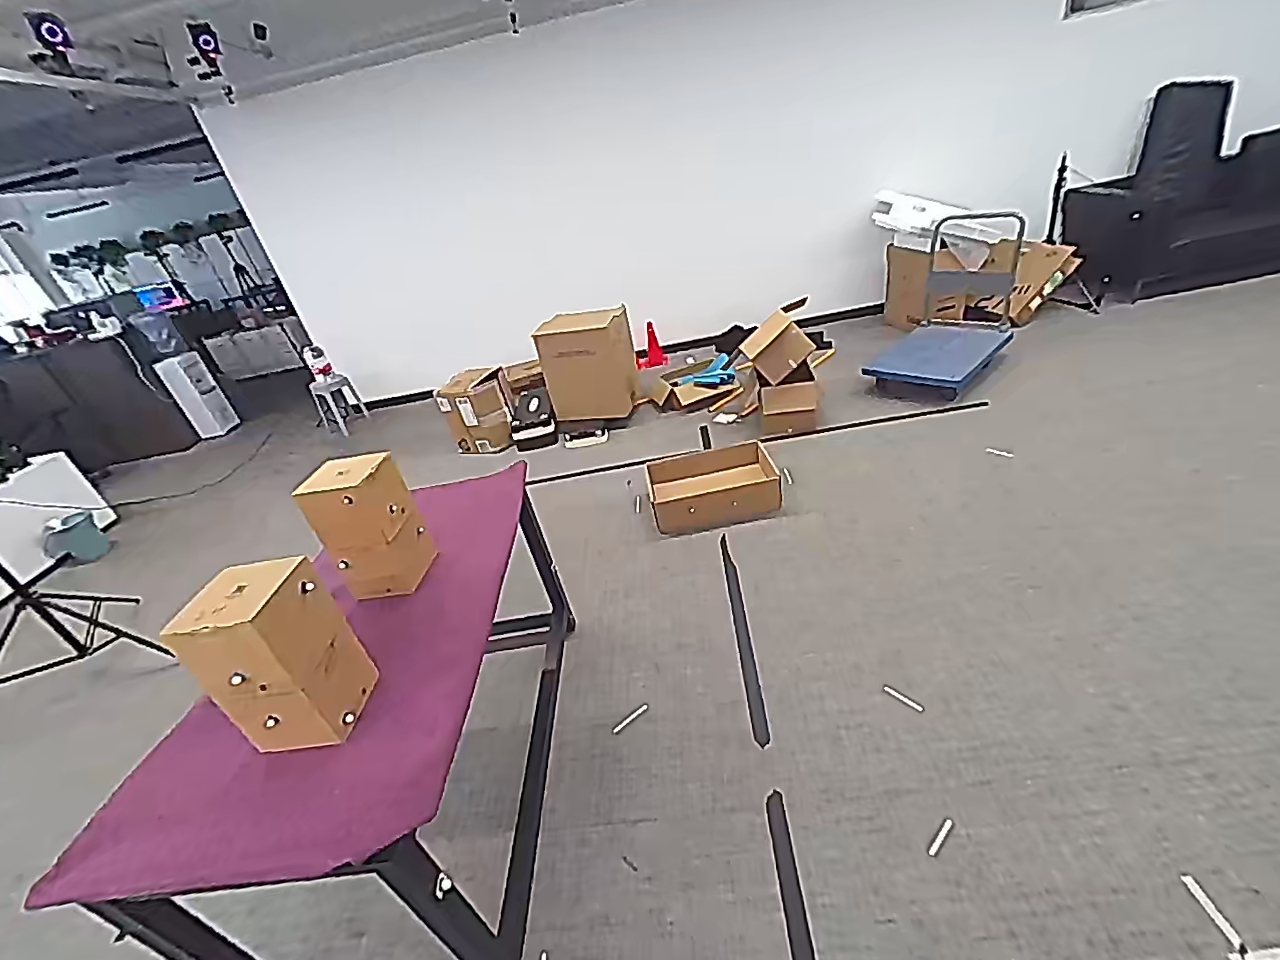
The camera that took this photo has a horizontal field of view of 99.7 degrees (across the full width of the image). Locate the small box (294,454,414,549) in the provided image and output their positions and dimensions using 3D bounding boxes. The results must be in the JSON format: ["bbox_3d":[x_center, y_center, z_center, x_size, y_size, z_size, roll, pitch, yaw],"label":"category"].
[{"bbox_3d":[-0.699,0.057,1.343,0.179,0.176,0.168,-8,30,8],"label":"small box"}]

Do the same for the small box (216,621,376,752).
[{"bbox_3d":[-0.660,0.406,1.065,0.179,0.176,0.168,-10,30,6],"label":"small box"}]

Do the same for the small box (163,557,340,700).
[{"bbox_3d":[-0.682,0.267,0.979,0.168,0.176,0.179,-10,30,5],"label":"small box"}]
